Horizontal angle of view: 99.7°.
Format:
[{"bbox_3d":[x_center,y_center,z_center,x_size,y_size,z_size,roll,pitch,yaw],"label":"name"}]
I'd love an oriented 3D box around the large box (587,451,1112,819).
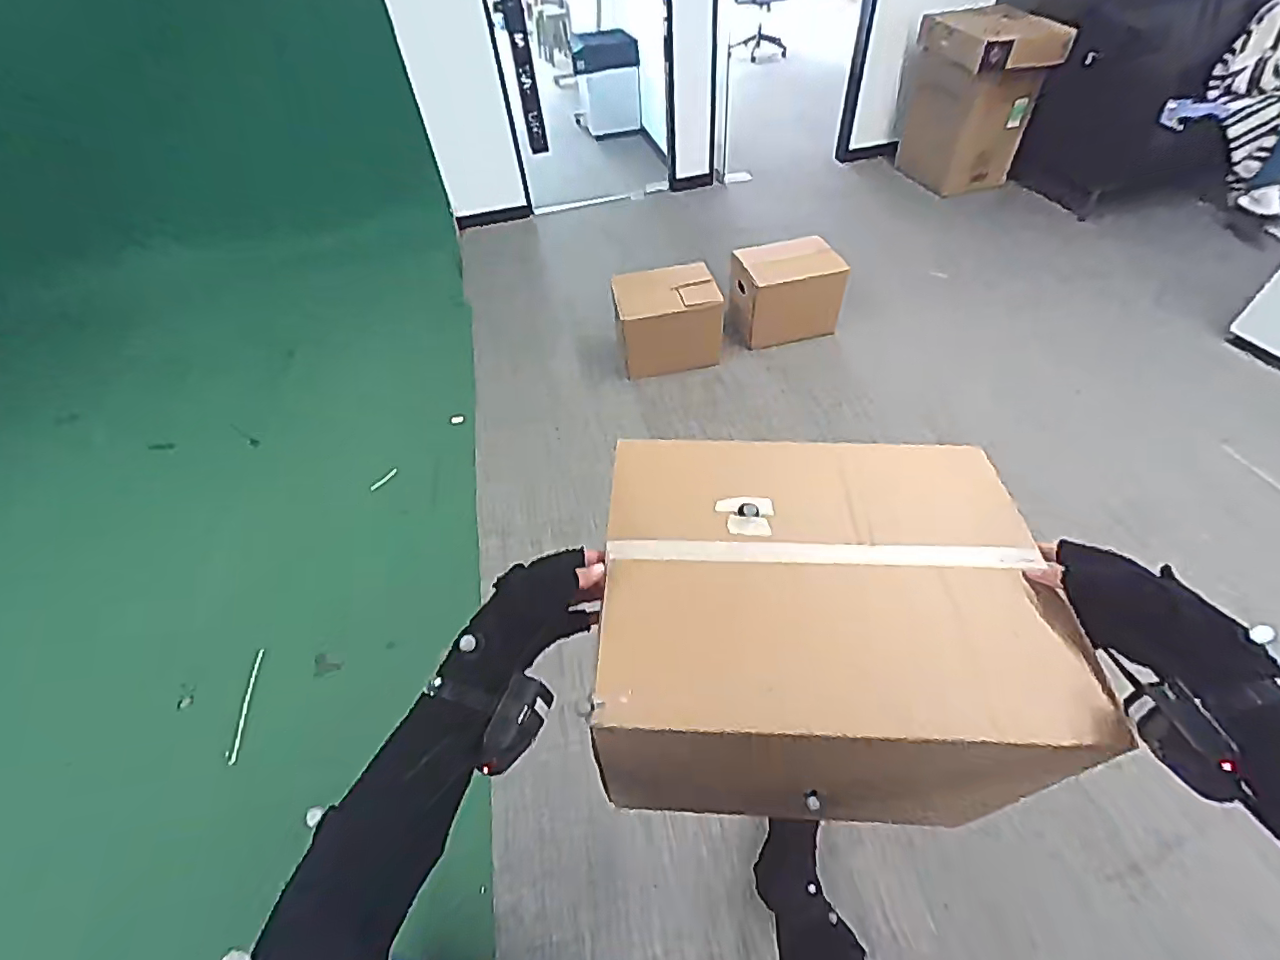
[{"bbox_3d":[0.168,0.181,0.619,0.408,0.320,0.320,1,48,3],"label":"large box"}]
